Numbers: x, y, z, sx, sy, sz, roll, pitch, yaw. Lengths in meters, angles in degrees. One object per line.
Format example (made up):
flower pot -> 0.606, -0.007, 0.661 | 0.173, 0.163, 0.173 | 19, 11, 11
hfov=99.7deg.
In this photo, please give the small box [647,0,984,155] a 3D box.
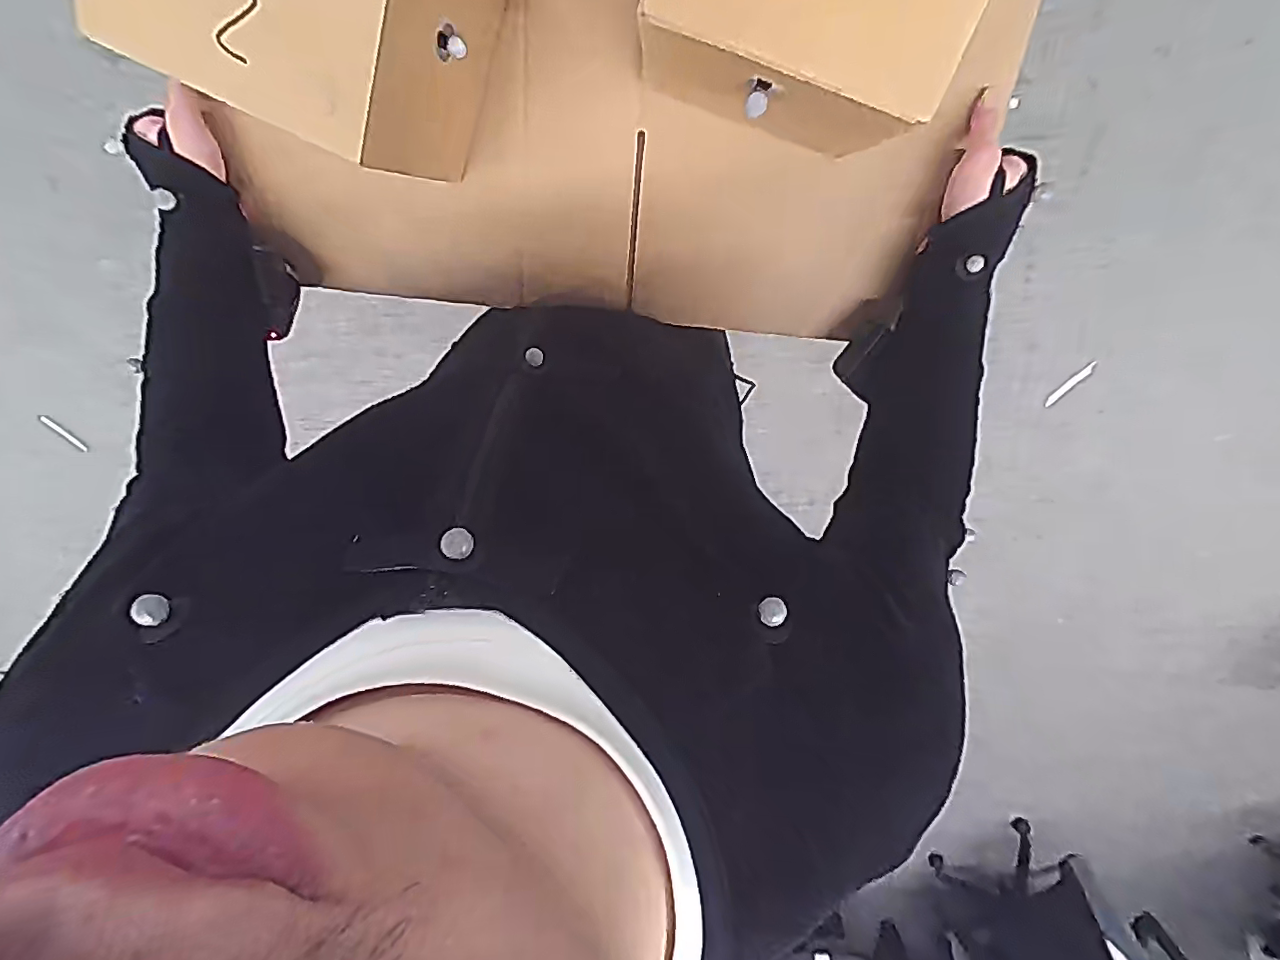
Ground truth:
small box -> 0.115, -0.333, 0.354 | 0.179, 0.176, 0.168 | 18, 114, -4
